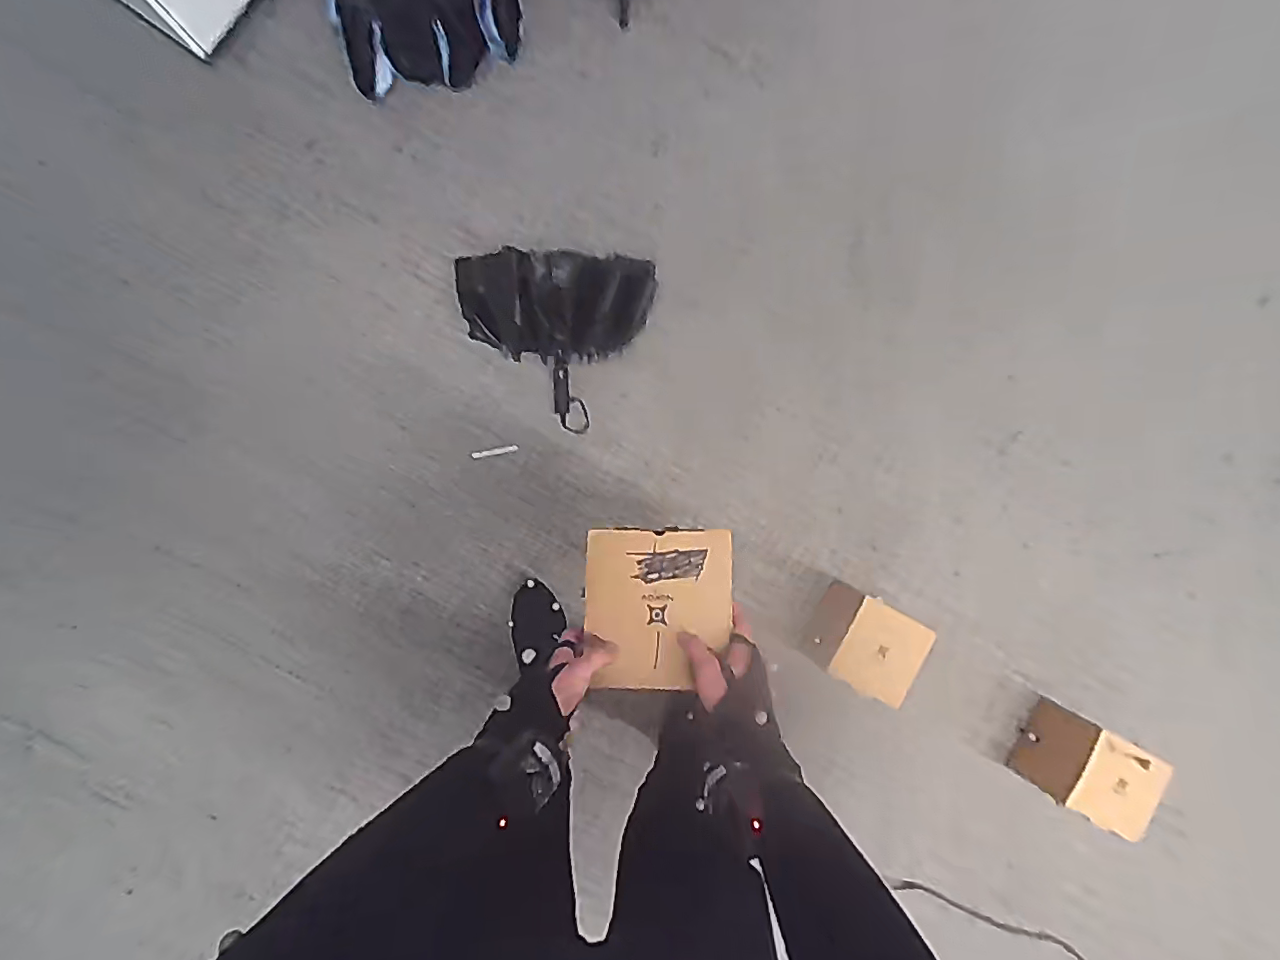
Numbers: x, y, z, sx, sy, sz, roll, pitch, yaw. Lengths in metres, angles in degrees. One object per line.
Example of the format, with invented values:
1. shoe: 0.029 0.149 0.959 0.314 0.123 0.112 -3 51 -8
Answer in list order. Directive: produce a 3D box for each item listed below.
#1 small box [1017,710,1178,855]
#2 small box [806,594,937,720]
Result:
1. small box: 0.951 0.627 1.144 0.168 0.176 0.179 29 87 -1
2. small box: 0.473 0.362 1.140 0.168 0.176 0.179 28 85 -2
